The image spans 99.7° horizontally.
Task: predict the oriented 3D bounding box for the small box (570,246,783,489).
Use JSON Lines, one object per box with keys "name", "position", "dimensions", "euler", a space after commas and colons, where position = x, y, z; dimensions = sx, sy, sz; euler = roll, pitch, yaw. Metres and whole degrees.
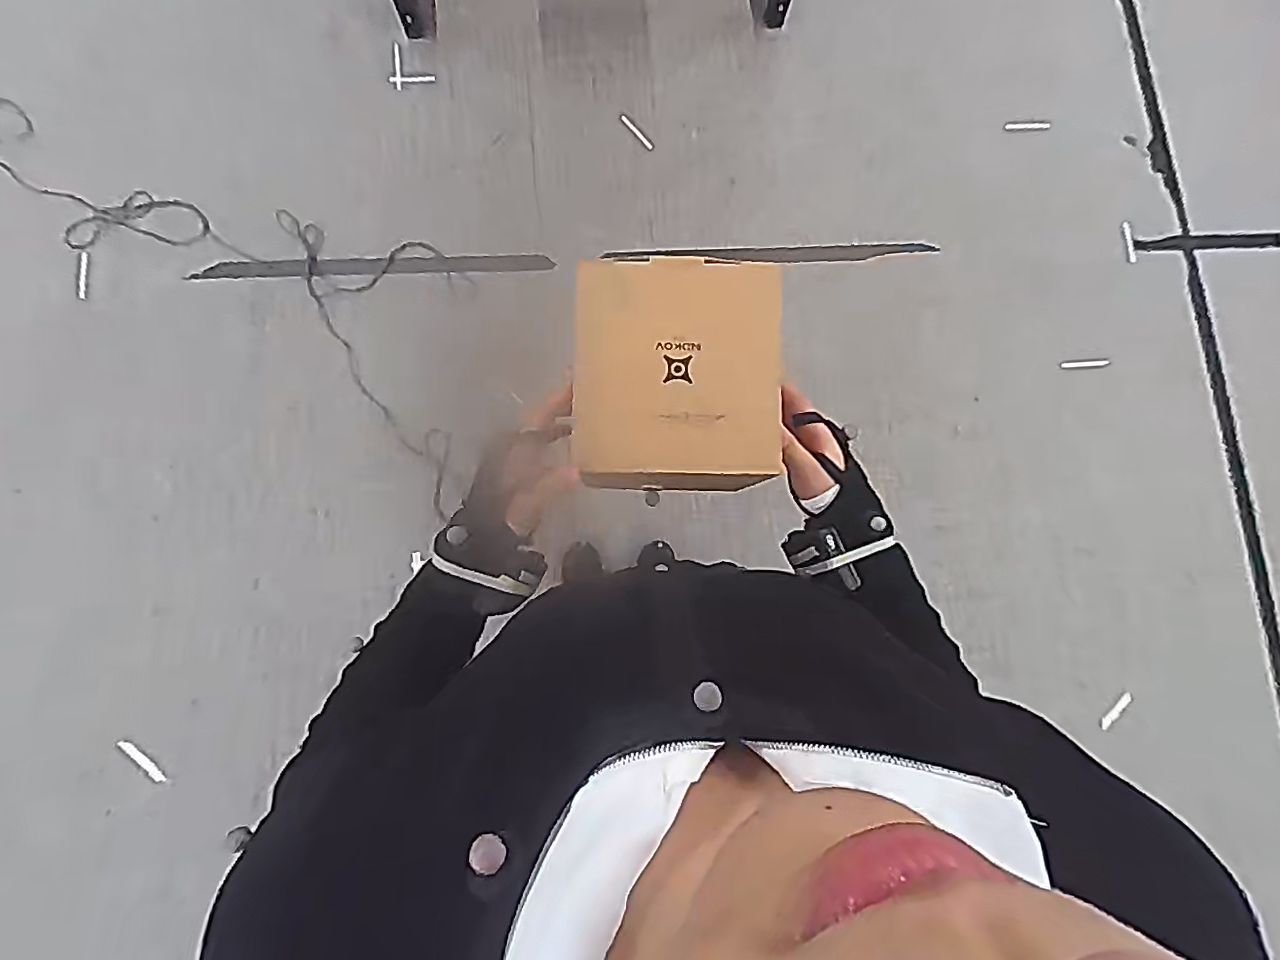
{"name": "small box", "position": [0.027, -0.088, 0.499], "dimensions": [0.168, 0.176, 0.179], "euler": [1, 85, -2]}
